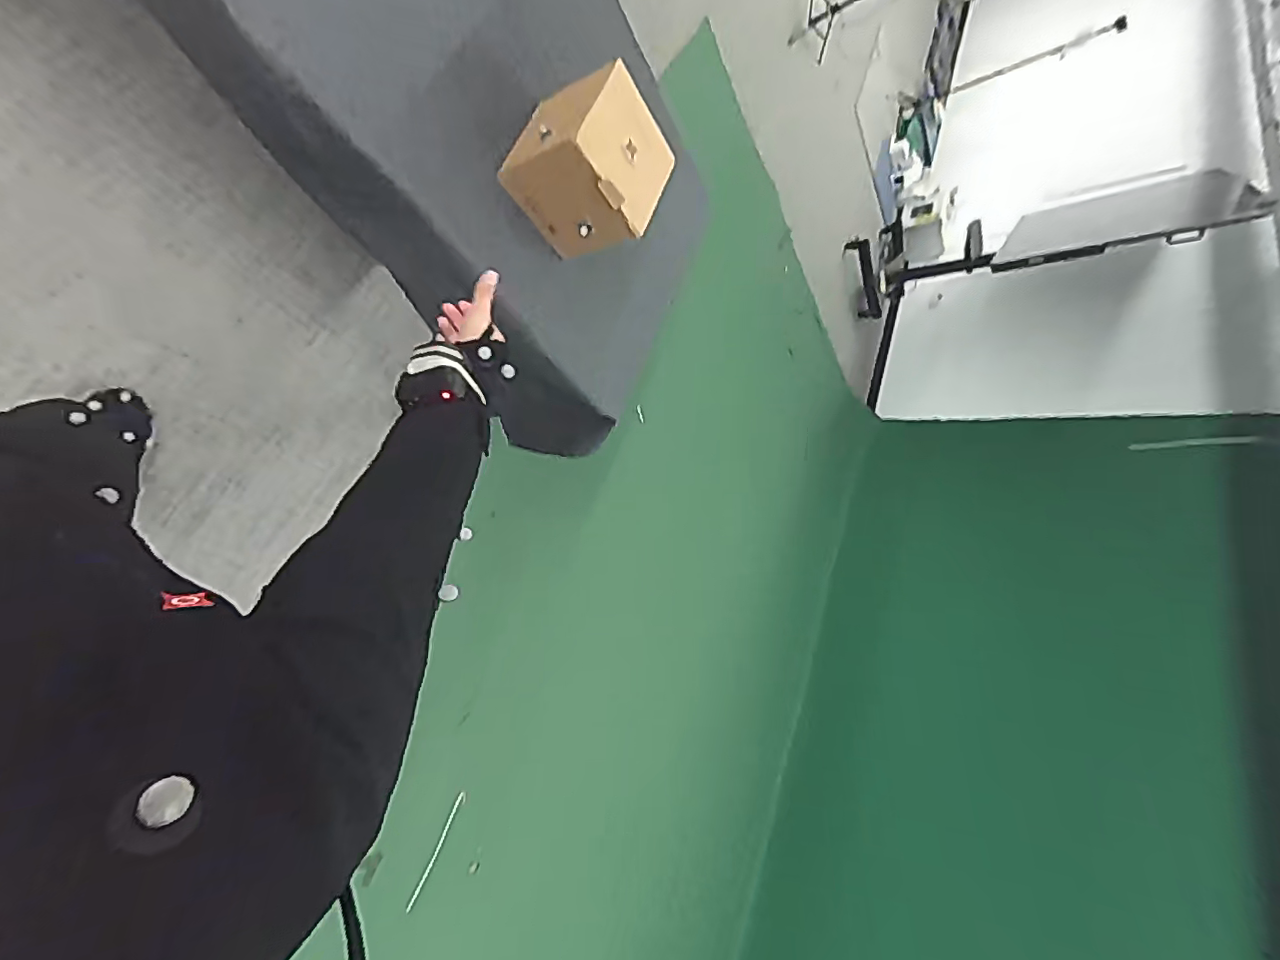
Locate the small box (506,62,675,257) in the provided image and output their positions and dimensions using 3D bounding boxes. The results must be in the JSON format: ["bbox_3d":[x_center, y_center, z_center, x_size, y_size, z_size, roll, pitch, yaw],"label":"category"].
[{"bbox_3d":[-0.076,-0.471,0.824,0.168,0.176,0.179,42,60,-46],"label":"small box"}]
